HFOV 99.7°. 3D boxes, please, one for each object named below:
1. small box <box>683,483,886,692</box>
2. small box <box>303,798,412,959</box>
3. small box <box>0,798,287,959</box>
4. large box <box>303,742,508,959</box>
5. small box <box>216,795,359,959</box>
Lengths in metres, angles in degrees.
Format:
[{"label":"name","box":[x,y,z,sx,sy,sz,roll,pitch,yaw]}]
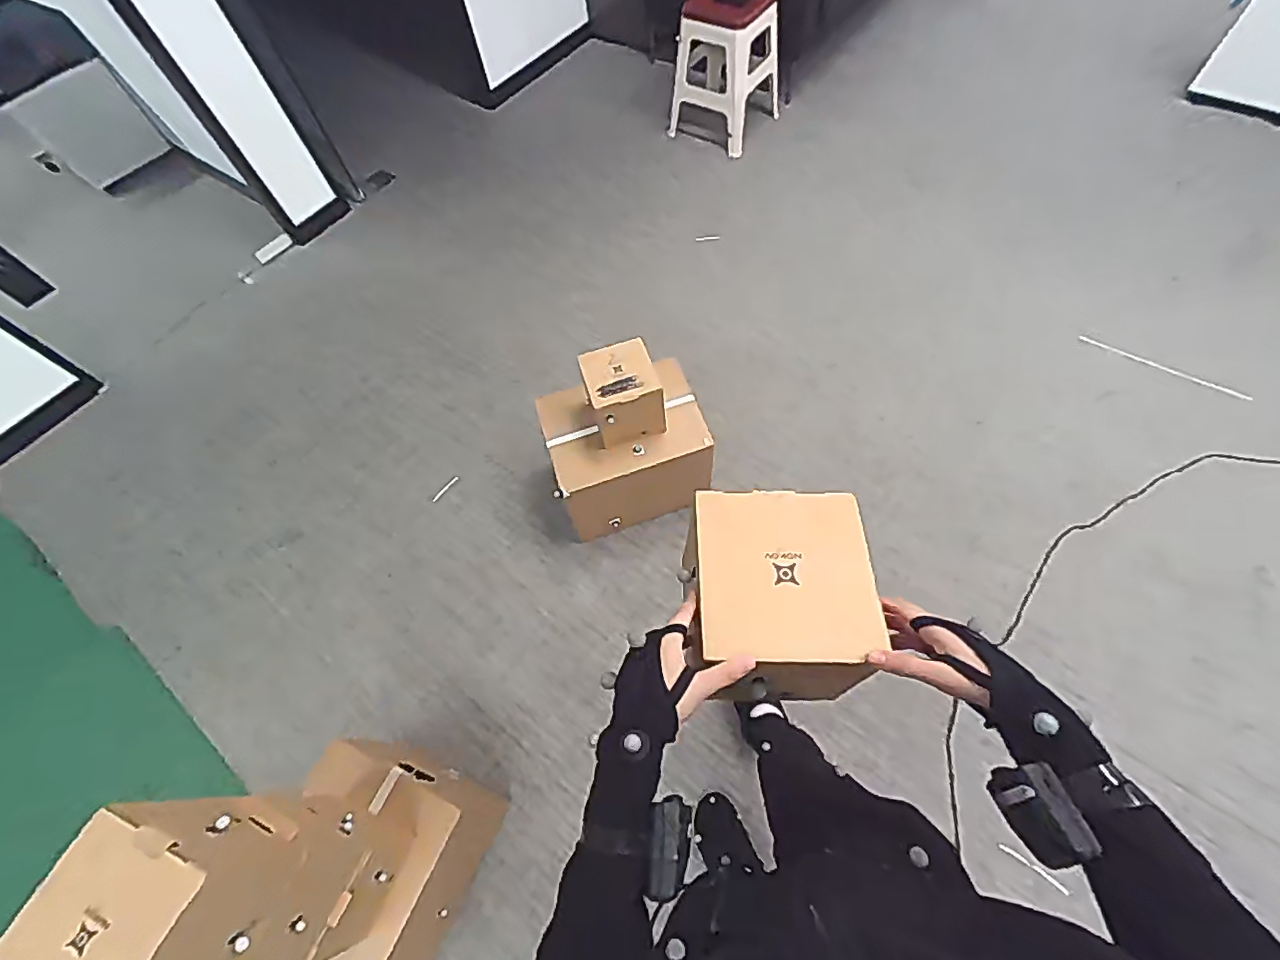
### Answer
[{"label":"small box","box":[0.133,0.120,0.575,0.168,0.176,0.179,0,56,1]},{"label":"small box","box":[-0.525,0.657,0.910,0.179,0.176,0.168,20,64,16]},{"label":"small box","box":[-0.557,0.496,0.626,0.168,0.176,0.179,19,63,16]},{"label":"large box","box":[-0.532,0.805,1.109,0.320,0.320,0.408,18,66,16]},{"label":"small box","box":[-0.540,0.574,0.770,0.168,0.176,0.179,19,65,15]}]
